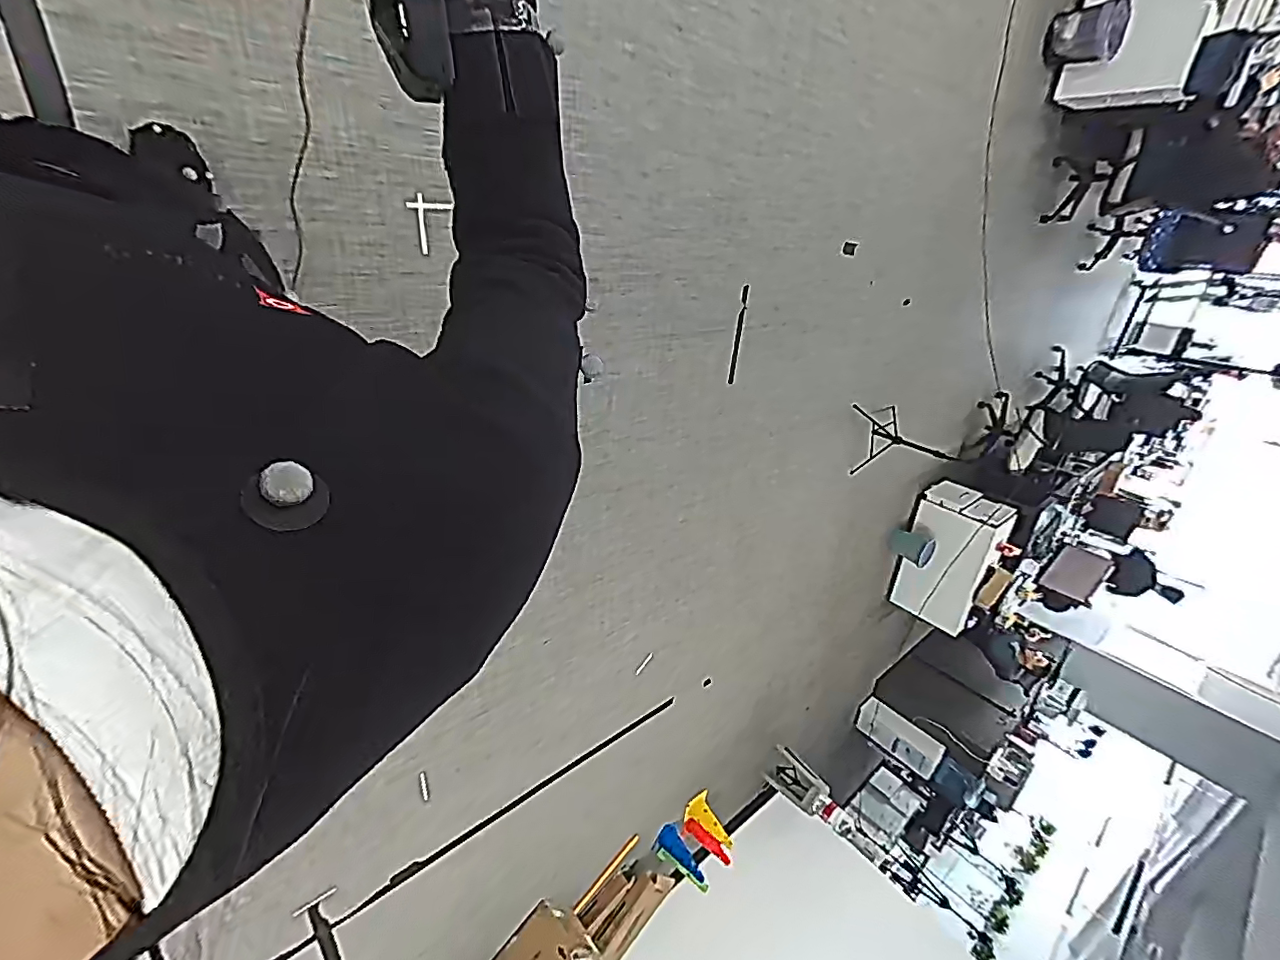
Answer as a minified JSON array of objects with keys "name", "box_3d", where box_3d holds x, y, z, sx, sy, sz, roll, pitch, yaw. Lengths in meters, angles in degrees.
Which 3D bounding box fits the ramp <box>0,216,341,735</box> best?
[{"name":"ramp","box_3d":[-0.983,0.006,1.129,0.509,0.206,0.991,-15,121,-36]}]
